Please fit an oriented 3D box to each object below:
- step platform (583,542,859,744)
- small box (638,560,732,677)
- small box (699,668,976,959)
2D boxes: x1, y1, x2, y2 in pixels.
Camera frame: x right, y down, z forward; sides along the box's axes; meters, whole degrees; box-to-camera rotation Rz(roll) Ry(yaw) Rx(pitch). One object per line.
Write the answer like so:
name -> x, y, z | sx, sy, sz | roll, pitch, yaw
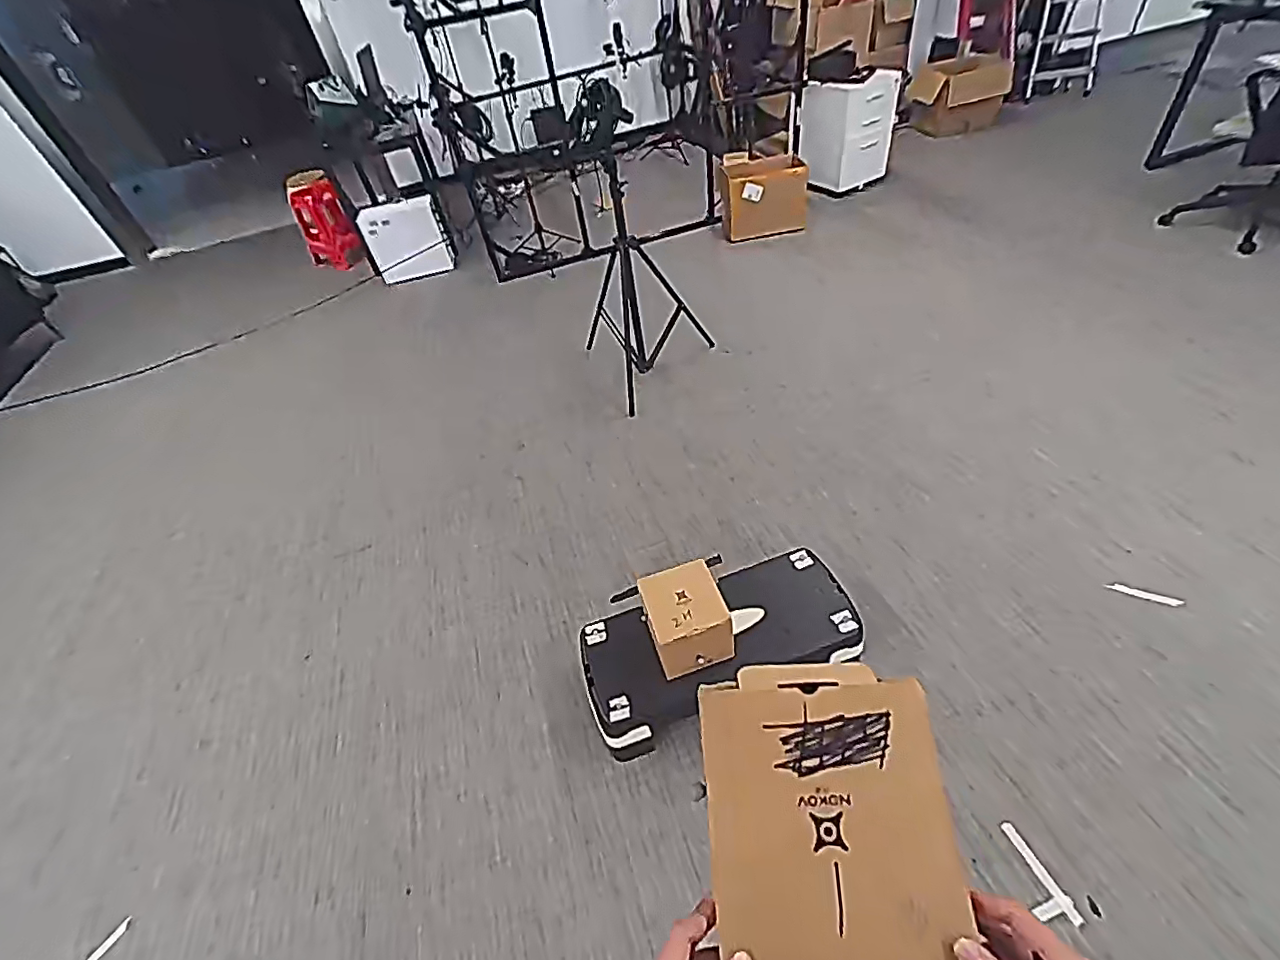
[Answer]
step platform -> 0.200, 0.404, 1.390 | 0.684, 0.204, 0.286 | -19, 45, -7
small box -> 0.103, 0.320, 1.245 | 0.168, 0.176, 0.179 | -17, 45, -5
small box -> 0.137, 0.258, 0.453 | 0.168, 0.176, 0.179 | -4, 67, 5
